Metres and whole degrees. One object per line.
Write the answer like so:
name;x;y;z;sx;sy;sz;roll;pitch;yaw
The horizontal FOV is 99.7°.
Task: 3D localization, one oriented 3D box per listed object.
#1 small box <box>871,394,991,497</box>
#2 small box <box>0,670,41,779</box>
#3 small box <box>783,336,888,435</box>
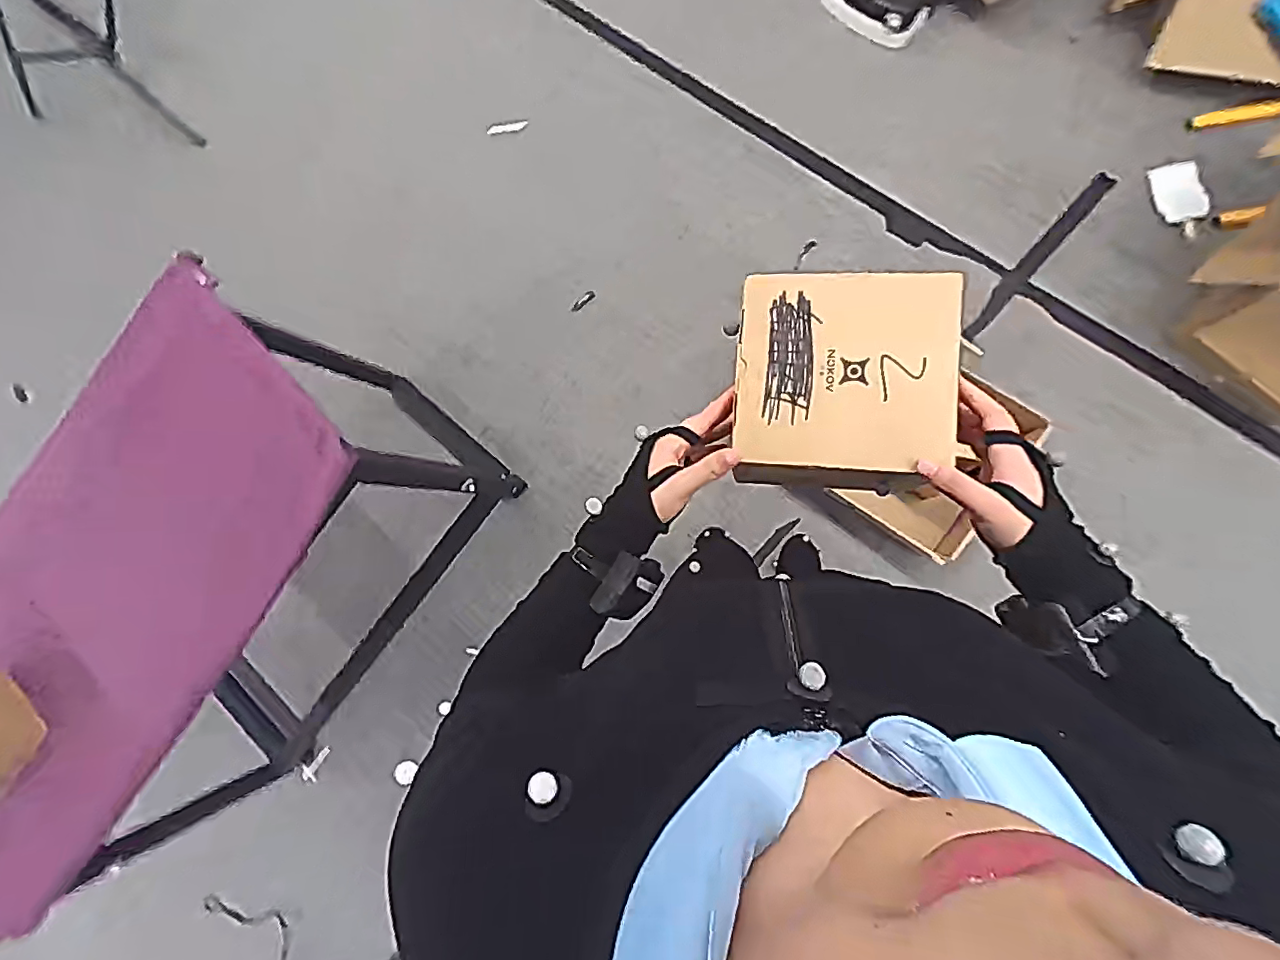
small box;0.682;-0.075;1.293;0.168;0.176;0.179;36;94;13
small box;-1.266;0.474;0.980;0.179;0.176;0.168;41;94;12
small box;0.477;-0.225;1.347;0.179;0.176;0.168;34;92;11
